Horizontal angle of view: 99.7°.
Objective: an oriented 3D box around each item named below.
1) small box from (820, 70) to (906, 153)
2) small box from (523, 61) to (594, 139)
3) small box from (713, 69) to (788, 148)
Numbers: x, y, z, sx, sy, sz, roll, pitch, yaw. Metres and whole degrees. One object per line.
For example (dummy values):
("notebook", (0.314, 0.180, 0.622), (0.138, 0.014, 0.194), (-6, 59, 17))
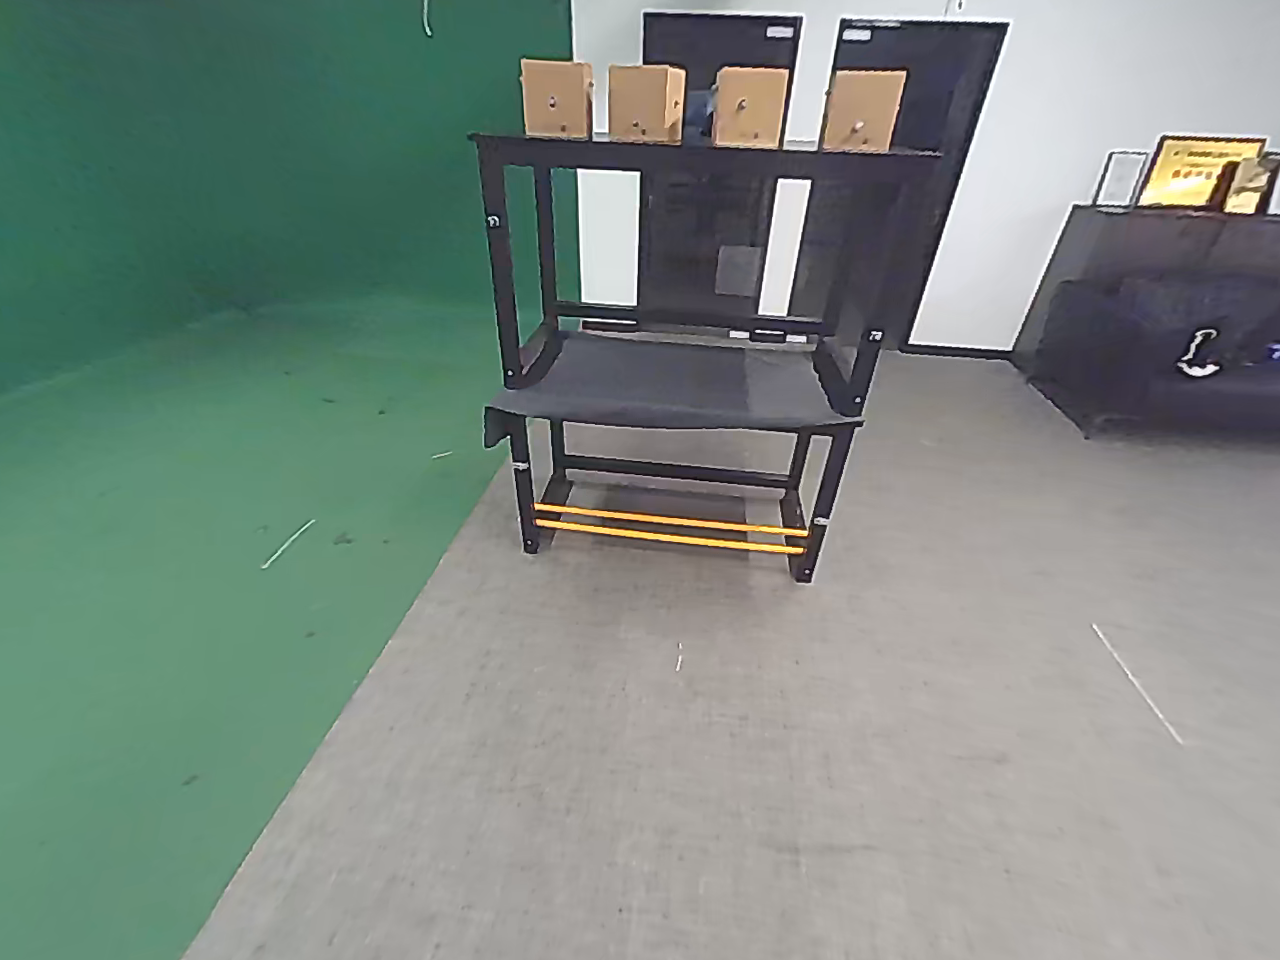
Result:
("small box", (0.582, -0.974, 1.434), (0.168, 0.176, 0.179), (8, 35, 9))
("small box", (-0.220, -1.050, 1.503), (0.168, 0.176, 0.179), (4, 34, 1))
("small box", (0.290, -0.995, 1.454), (0.168, 0.176, 0.179), (3, 33, 0))
